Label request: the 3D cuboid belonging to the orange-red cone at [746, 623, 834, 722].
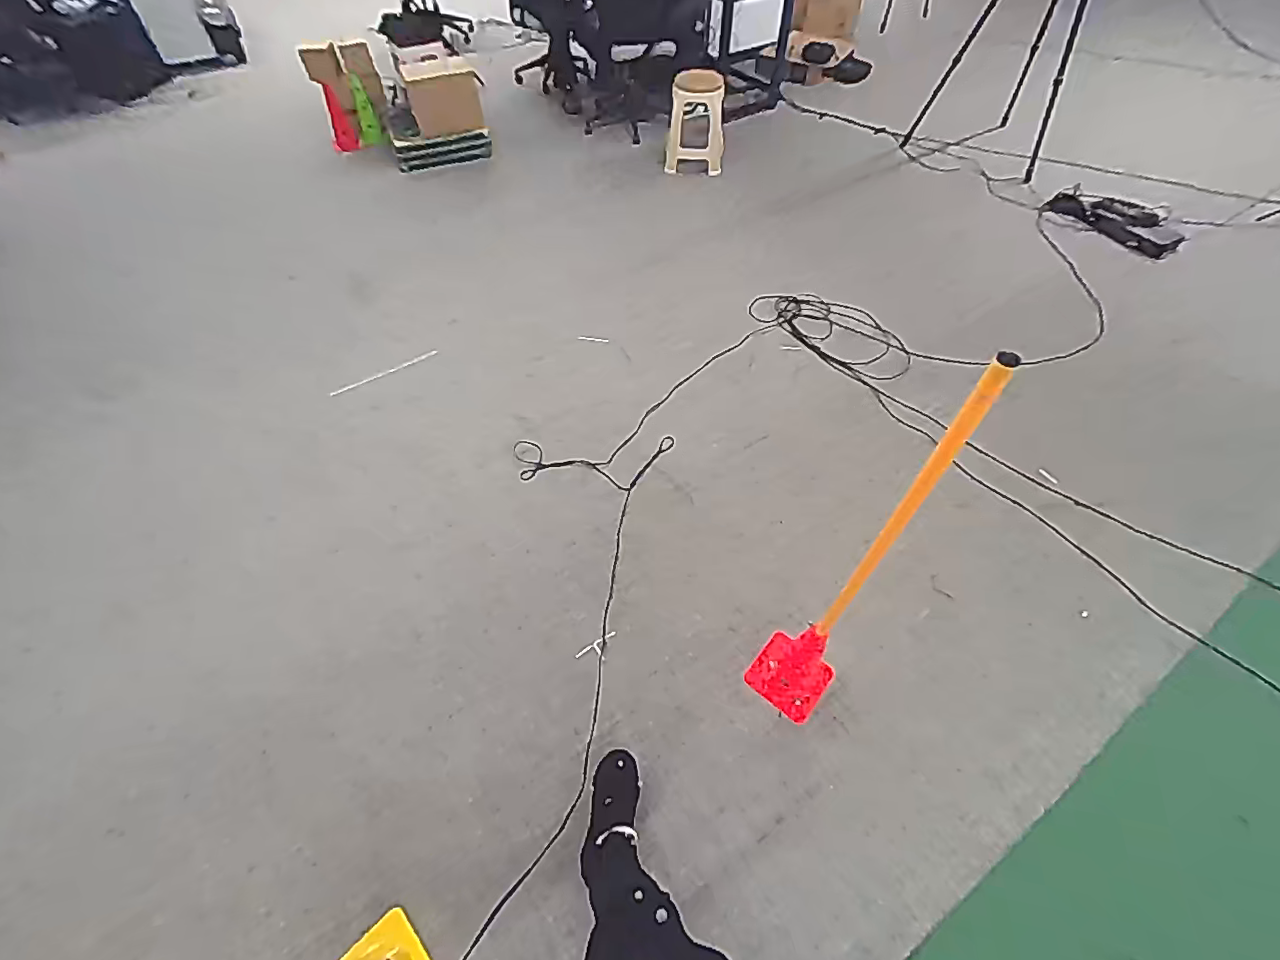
[{"bbox_3d":[0.431,0.455,1.409,0.198,0.360,0.199,36,60,23],"label":"orange-red cone"}]
